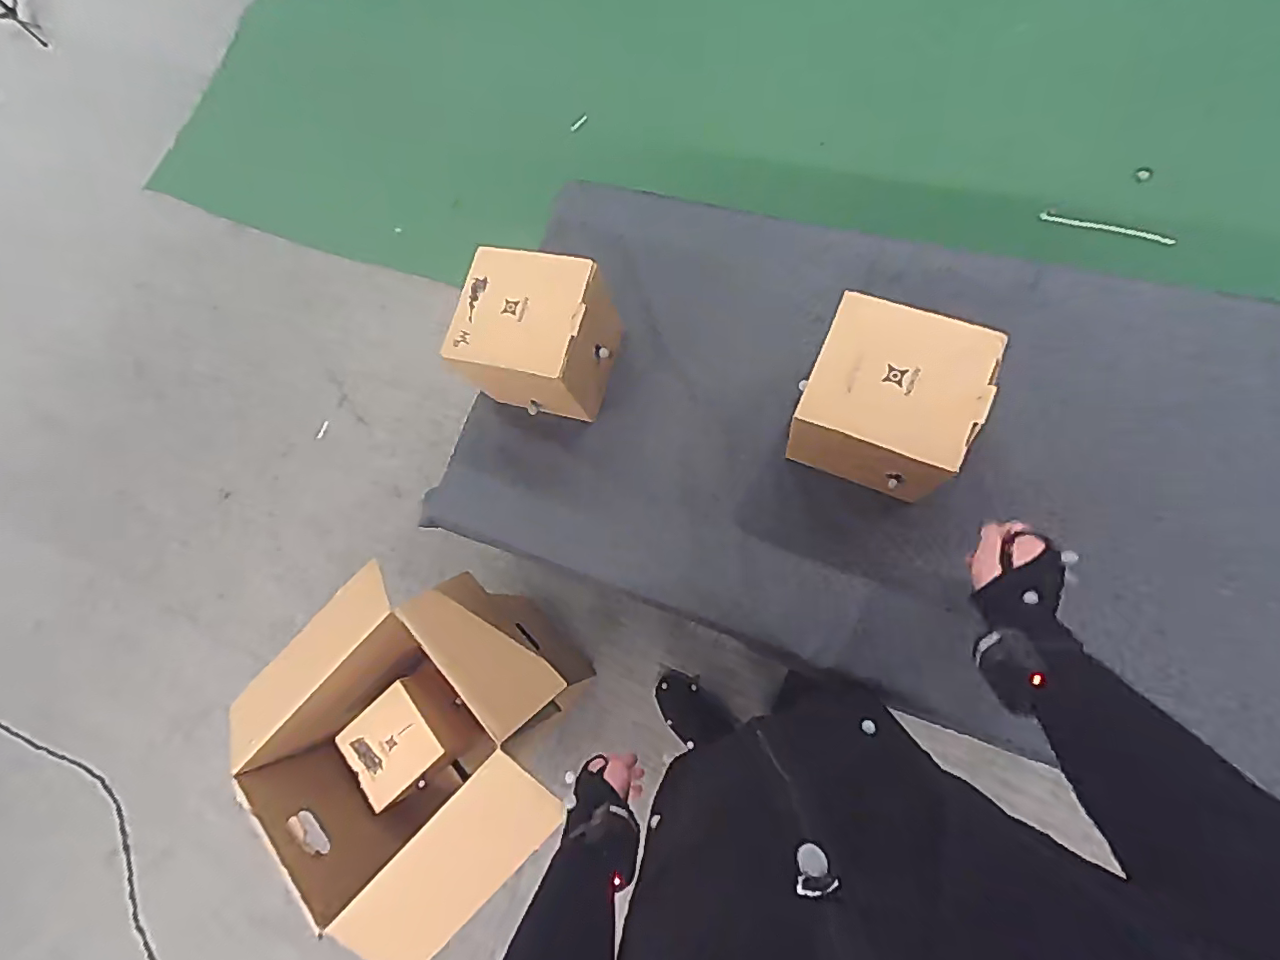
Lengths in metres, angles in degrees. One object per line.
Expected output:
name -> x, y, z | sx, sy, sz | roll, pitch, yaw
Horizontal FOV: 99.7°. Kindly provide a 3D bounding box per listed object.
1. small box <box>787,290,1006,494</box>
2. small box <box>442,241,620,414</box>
small box -> 0.292, -0.094, 0.656 | 0.179, 0.176, 0.168 | 22, 81, 17
small box -> -0.141, -0.206, 0.772 | 0.179, 0.176, 0.168 | 14, 80, 13
